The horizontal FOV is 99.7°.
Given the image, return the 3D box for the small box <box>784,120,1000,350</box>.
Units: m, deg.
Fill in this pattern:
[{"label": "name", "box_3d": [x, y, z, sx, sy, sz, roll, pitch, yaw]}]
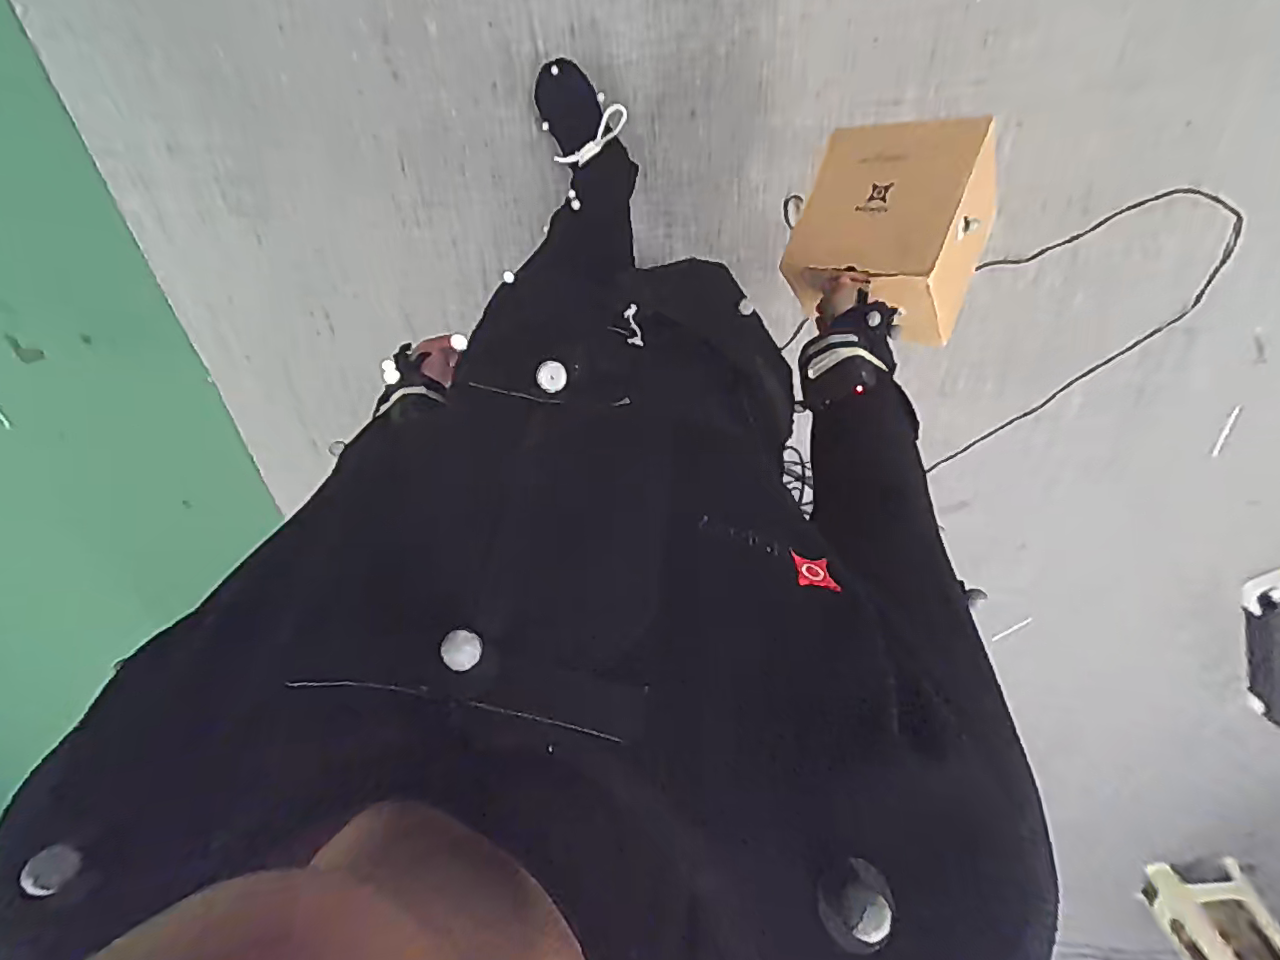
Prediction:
[{"label": "small box", "box_3d": [0.295, -0.273, 0.630, 0.168, 0.176, 0.179, 21, 87, 33]}]
